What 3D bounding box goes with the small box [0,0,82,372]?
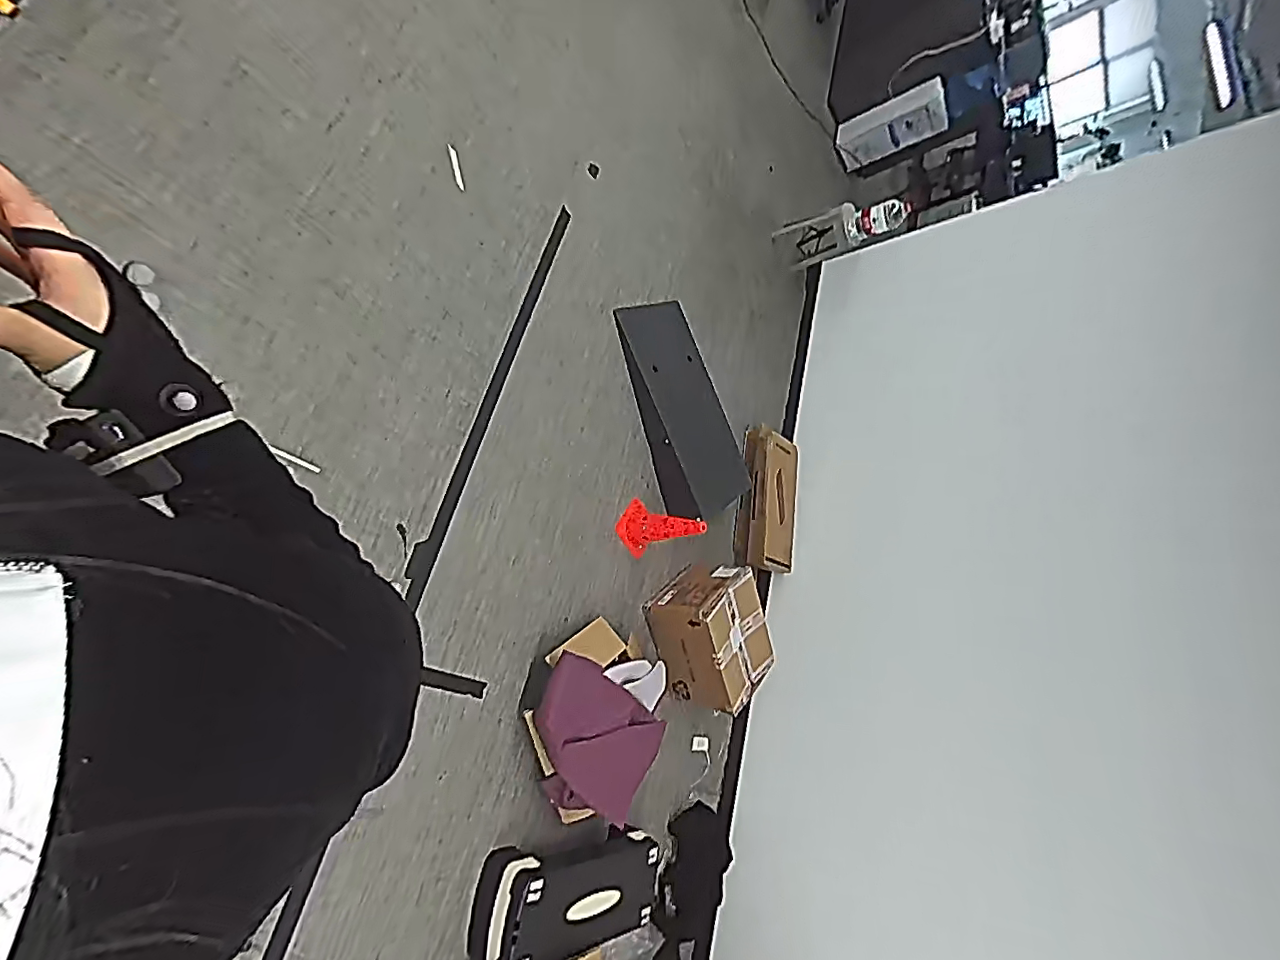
[{"bbox_3d":[-0.362,-0.137,0.209,0.168,0.176,0.179,-17,105,-49],"label":"small box"}]
